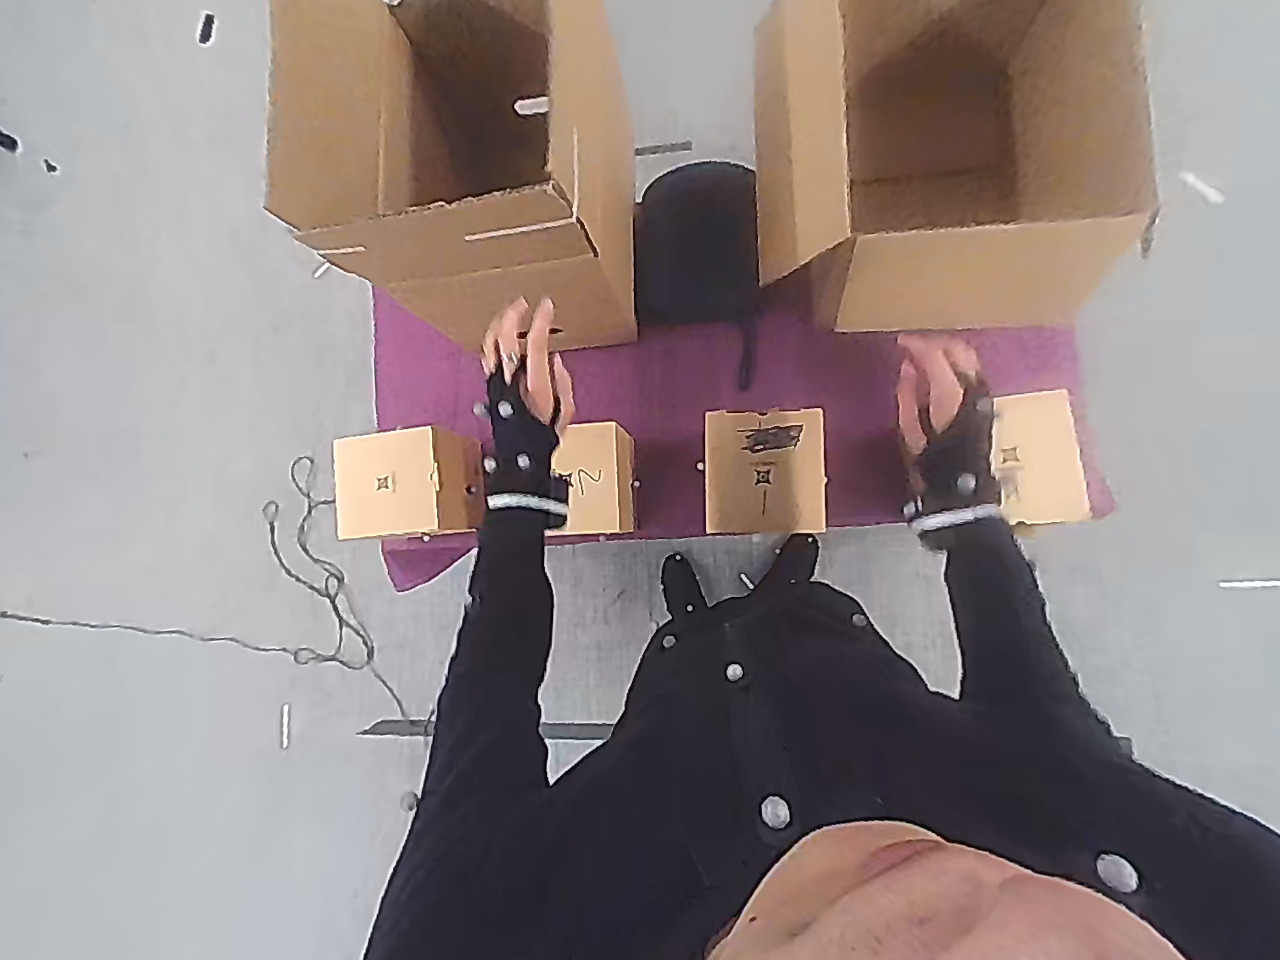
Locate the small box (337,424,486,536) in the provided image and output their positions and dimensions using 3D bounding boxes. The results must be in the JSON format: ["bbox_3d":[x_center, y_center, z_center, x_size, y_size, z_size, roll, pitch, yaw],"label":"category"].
[{"bbox_3d":[-0.386,0.009,0.932,0.179,0.176,0.168,-7,84,7],"label":"small box"}]

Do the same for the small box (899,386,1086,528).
[{"bbox_3d":[0.496,-0.023,0.789,0.168,0.176,0.179,-7,84,10],"label":"small box"}]

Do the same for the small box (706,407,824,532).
[{"bbox_3d":[0.187,-0.010,0.840,0.168,0.176,0.179,0,86,9],"label":"small box"}]
